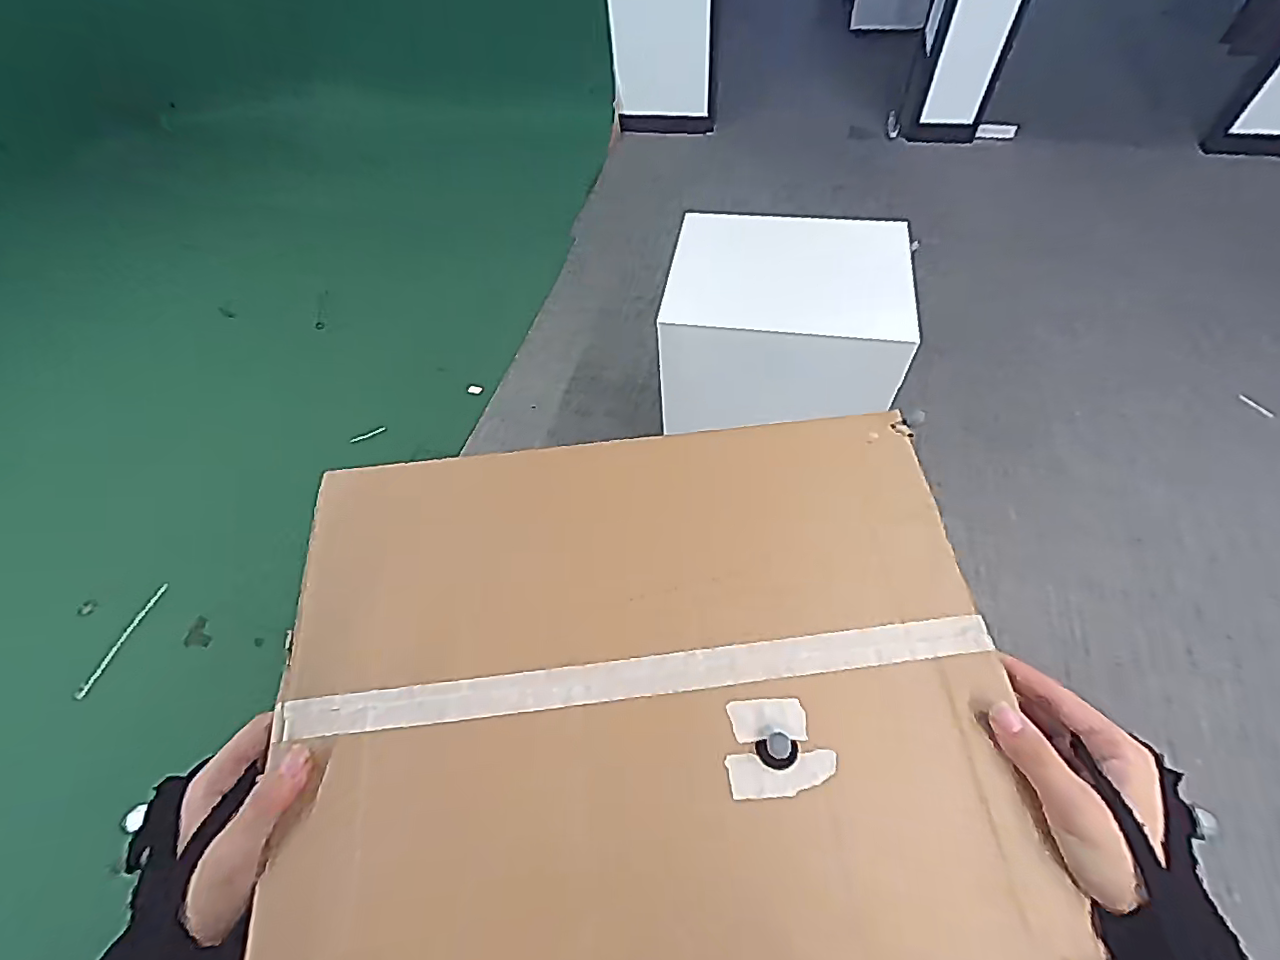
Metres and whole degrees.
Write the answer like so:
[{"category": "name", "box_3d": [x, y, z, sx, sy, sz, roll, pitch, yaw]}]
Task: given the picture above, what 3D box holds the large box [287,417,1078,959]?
[{"category": "large box", "box_3d": [0.008, 0.176, 0.460, 0.408, 0.320, 0.320, -6, 64, -3]}]
